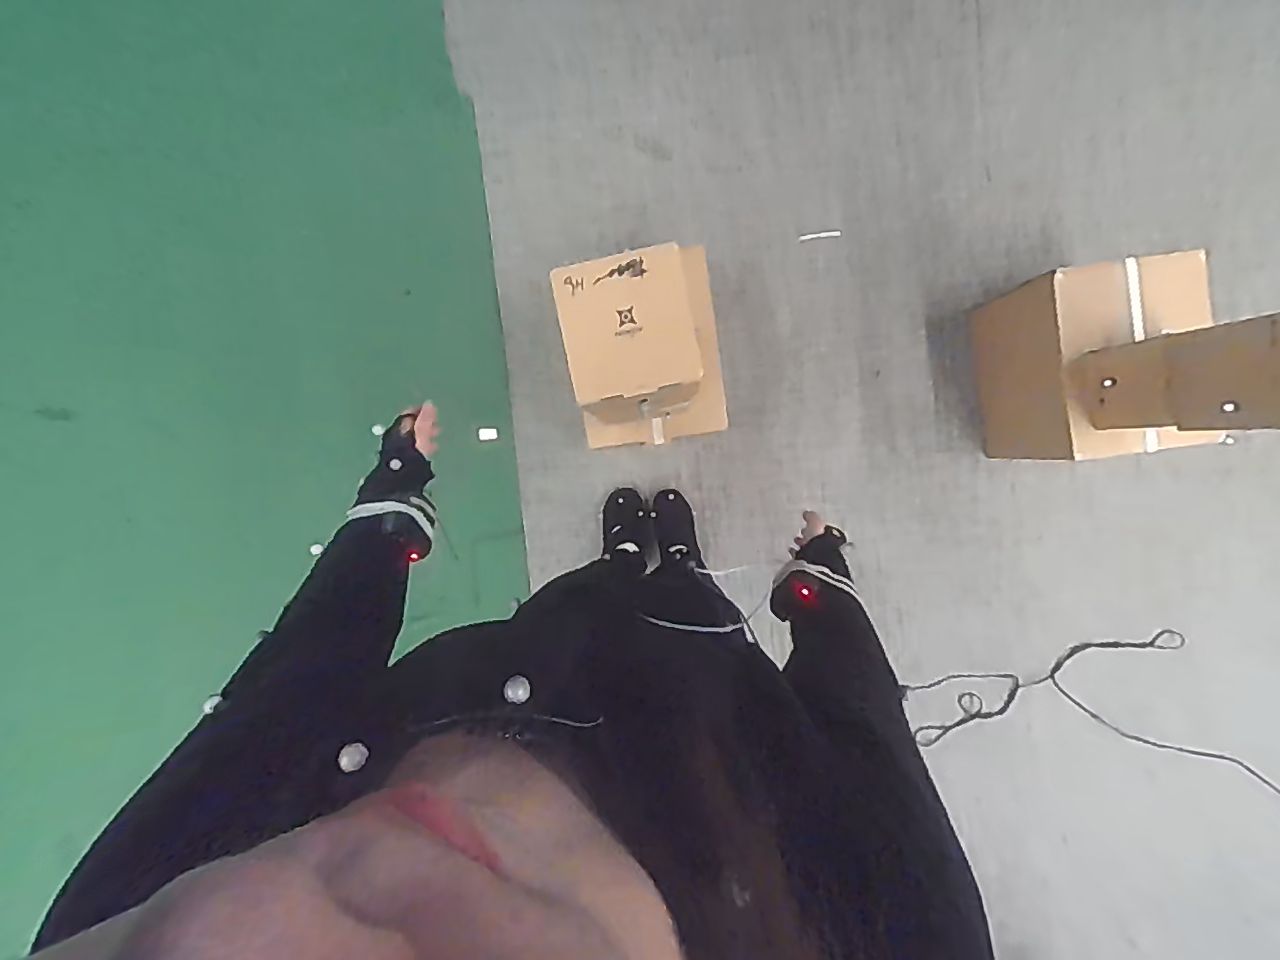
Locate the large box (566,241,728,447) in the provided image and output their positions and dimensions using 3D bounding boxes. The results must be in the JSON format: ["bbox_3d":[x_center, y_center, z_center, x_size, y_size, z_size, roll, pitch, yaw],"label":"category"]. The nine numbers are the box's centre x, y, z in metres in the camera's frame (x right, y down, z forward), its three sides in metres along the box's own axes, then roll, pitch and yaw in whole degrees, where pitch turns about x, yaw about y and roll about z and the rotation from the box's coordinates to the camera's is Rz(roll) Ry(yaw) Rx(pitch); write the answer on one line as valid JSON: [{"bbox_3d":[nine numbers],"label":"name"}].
[{"bbox_3d":[0.019,-0.302,1.319,0.320,0.320,0.408,-8,92,2],"label":"large box"}]

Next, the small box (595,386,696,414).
[{"bbox_3d":[-0.004,-0.212,0.917,0.168,0.176,0.179,-13,92,3],"label":"small box"}]

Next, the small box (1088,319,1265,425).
[{"bbox_3d":[1.027,-0.201,1.048,0.179,0.176,0.168,-9,94,4],"label":"small box"}]

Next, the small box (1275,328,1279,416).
[{"bbox_3d":[1.021,-0.166,0.720,0.168,0.176,0.179,-6,95,3],"label":"small box"}]

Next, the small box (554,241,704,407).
[{"bbox_3d":[-0.009,-0.201,0.753,0.168,0.176,0.179,-11,93,3],"label":"small box"}]

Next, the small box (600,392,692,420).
[{"bbox_3d":[0.003,-0.215,1.081,0.179,0.176,0.168,-9,93,4],"label":"small box"}]
